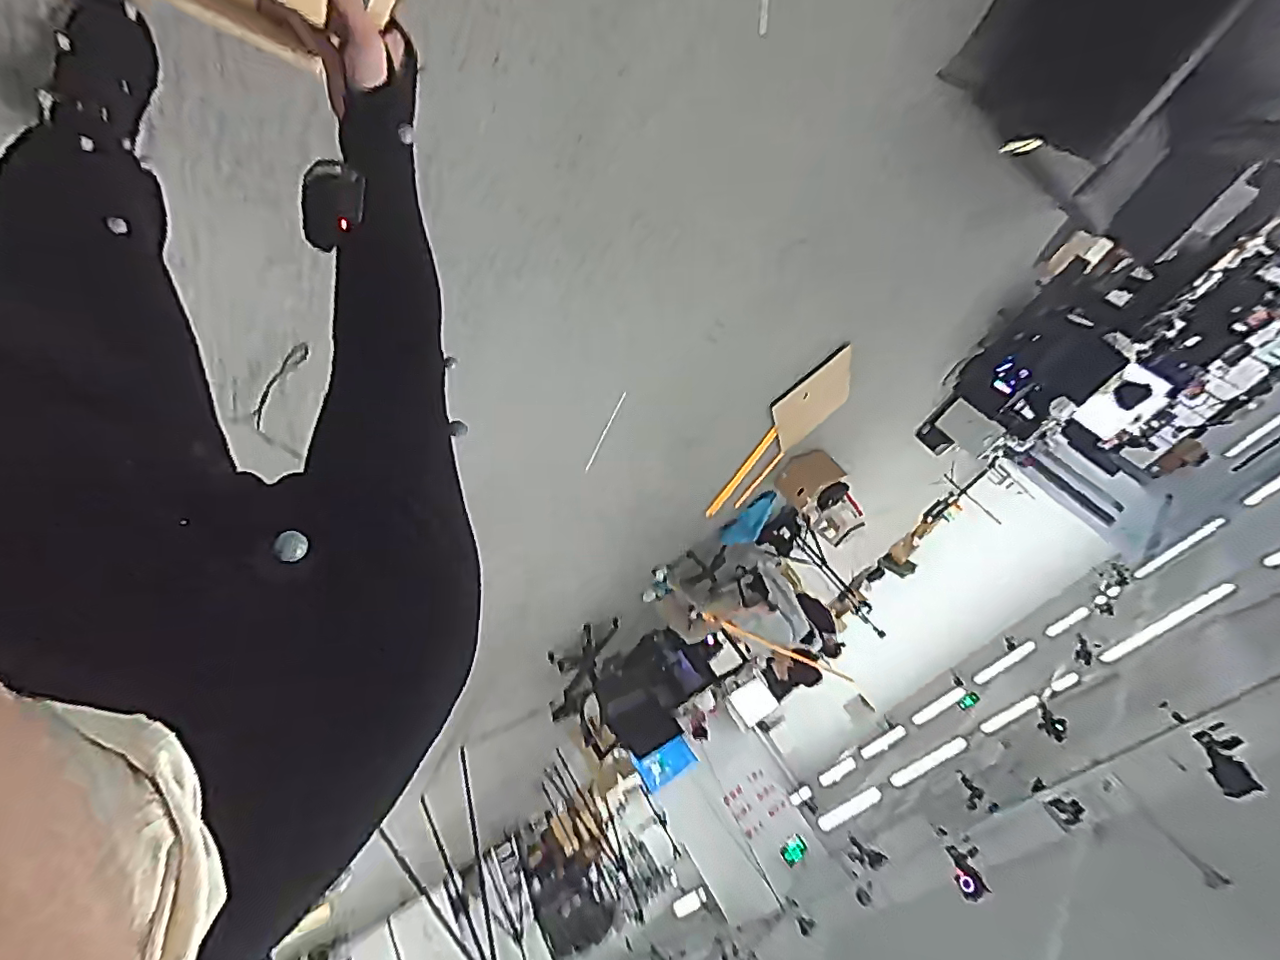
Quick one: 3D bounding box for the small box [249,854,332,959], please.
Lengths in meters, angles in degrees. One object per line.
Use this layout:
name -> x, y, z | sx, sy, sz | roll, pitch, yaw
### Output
small box -> -0.973, 1.189, 1.511 | 0.168, 0.176, 0.179 | -13, 142, -37
